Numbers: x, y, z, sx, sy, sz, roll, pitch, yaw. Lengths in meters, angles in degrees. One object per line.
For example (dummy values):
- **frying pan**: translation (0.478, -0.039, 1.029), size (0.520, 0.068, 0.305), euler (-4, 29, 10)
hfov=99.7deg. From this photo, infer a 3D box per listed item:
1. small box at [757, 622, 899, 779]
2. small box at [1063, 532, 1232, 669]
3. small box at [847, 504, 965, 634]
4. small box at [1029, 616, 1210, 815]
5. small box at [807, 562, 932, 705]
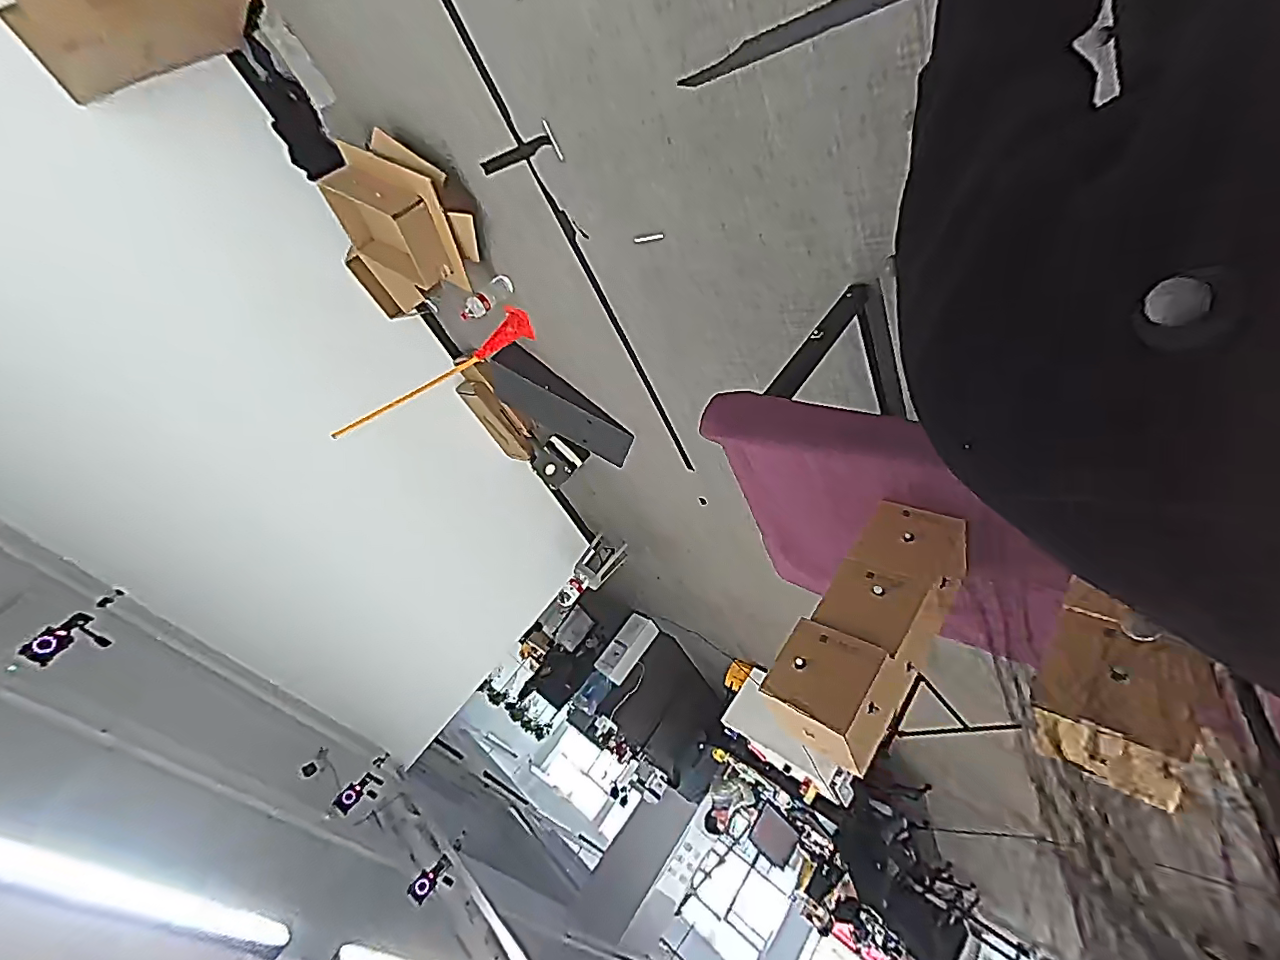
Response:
- **small box**: translation (0.342, 0.387, 0.972), size (0.168, 0.176, 0.179), euler (15, 146, 46)
- **small box**: translation (0.772, 0.206, 0.836), size (0.168, 0.176, 0.179), euler (16, 147, 44)
- **small box**: translation (0.549, 0.176, 1.111), size (0.168, 0.176, 0.179), euler (18, 148, 43)
- **small box**: translation (0.677, 0.325, 0.773), size (0.168, 0.176, 0.179), euler (14, 145, 46)
- **small box**: translation (0.450, 0.291, 1.049), size (0.168, 0.176, 0.179), euler (17, 146, 42)
